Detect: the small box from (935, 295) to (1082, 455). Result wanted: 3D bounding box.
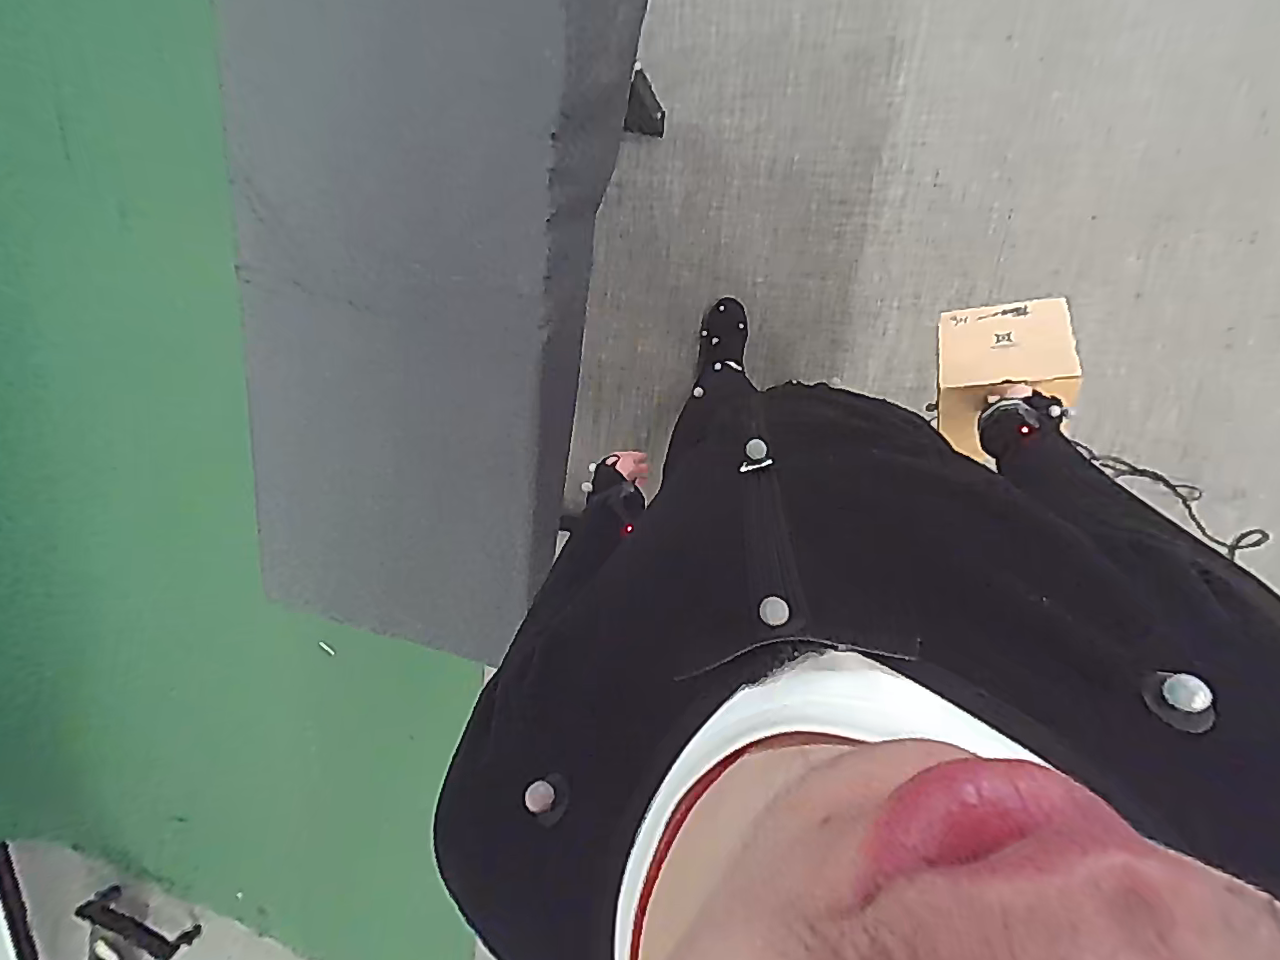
[{"bbox_3d":[0.558,-0.151,0.839,0.168,0.179,0.176,-3,141,28],"label":"small box"}]
